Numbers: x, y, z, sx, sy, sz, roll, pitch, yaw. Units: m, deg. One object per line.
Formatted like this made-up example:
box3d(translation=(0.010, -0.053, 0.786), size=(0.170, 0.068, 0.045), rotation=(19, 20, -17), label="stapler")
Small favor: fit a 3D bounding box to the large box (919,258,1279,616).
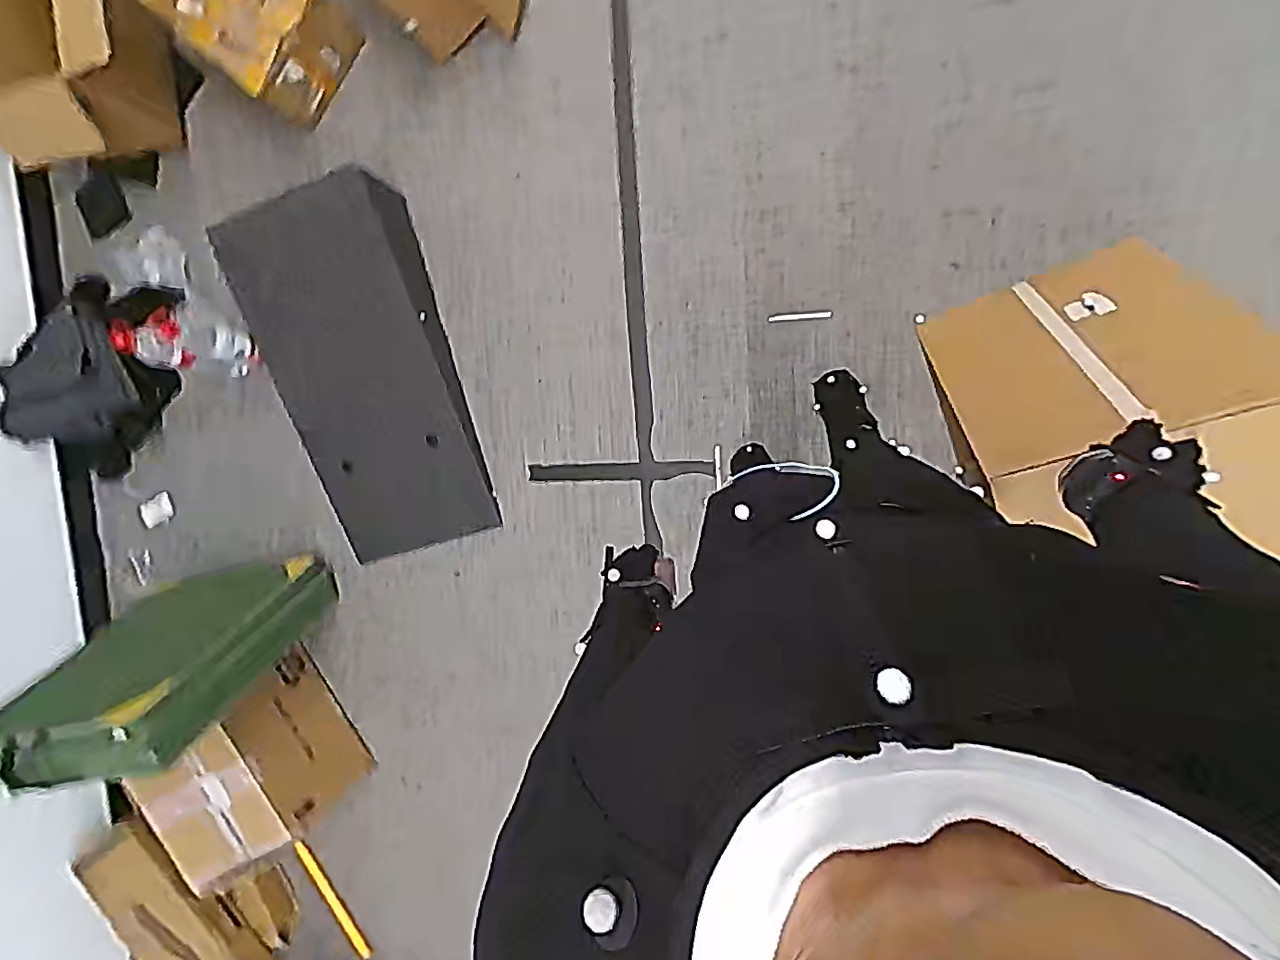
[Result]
box3d(translation=(0.669, -0.064, 0.824), size=(0.320, 0.408, 0.320), rotation=(-18, 125, 26), label="large box")
